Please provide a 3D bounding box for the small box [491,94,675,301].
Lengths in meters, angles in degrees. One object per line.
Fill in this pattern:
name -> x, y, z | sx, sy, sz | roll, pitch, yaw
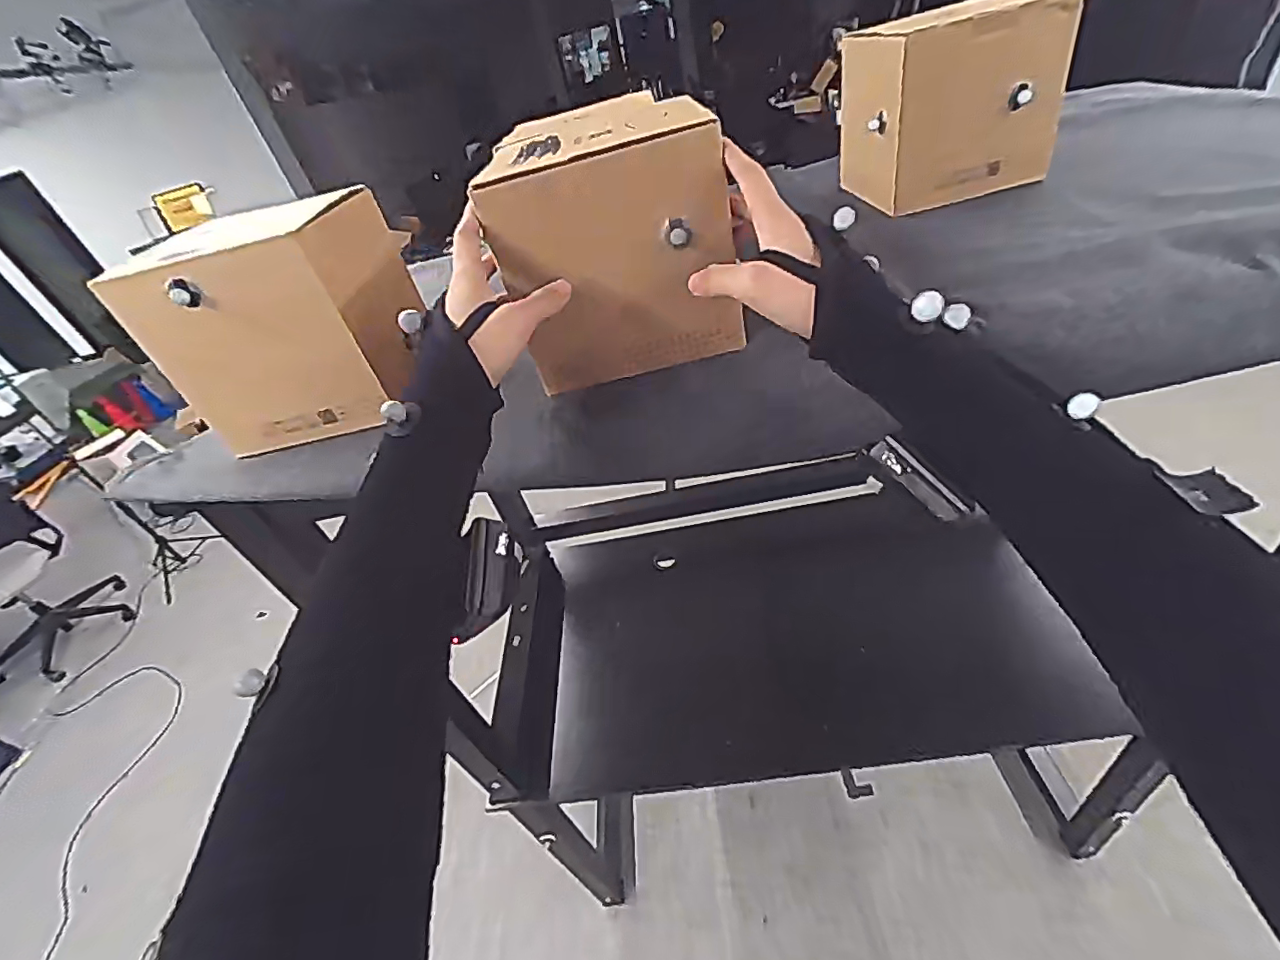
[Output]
small box -> -0.055, -0.343, 0.662 | 0.179, 0.176, 0.168 | -11, 39, 8

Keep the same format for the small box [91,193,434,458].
small box -> -0.317, -0.146, 0.508 | 0.168, 0.176, 0.179 | -13, 38, 5

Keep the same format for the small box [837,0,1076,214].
small box -> 0.335, -0.421, 0.615 | 0.168, 0.176, 0.179 | -12, 39, 5
